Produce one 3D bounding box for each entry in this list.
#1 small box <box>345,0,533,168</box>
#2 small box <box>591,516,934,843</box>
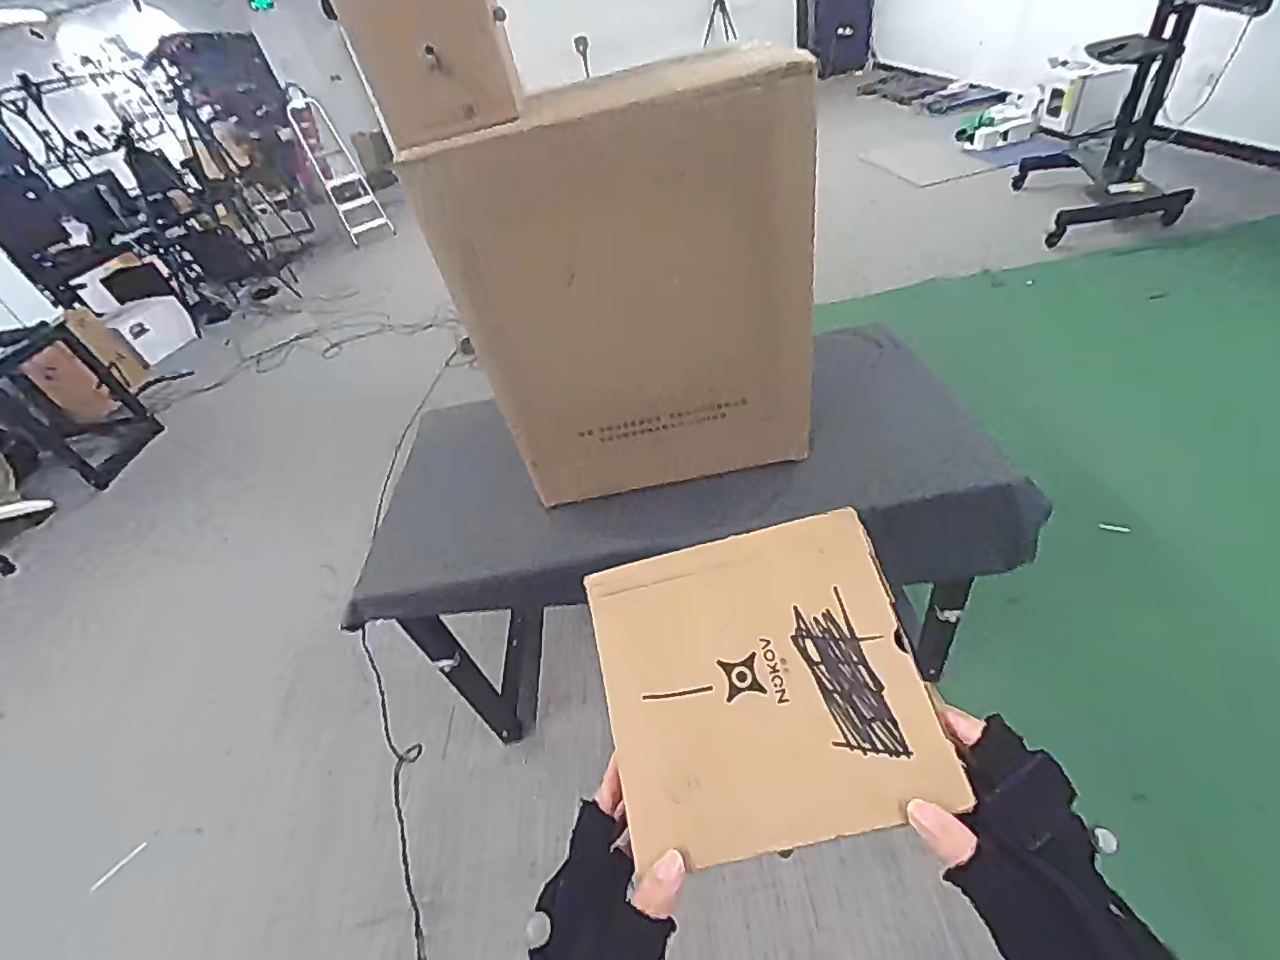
[{"bbox_3d":[-0.247,-0.534,0.712,0.168,0.176,0.179,-16,43,1],"label":"small box"},{"bbox_3d":[0.075,0.146,0.404,0.179,0.176,0.168,-14,64,4],"label":"small box"}]
